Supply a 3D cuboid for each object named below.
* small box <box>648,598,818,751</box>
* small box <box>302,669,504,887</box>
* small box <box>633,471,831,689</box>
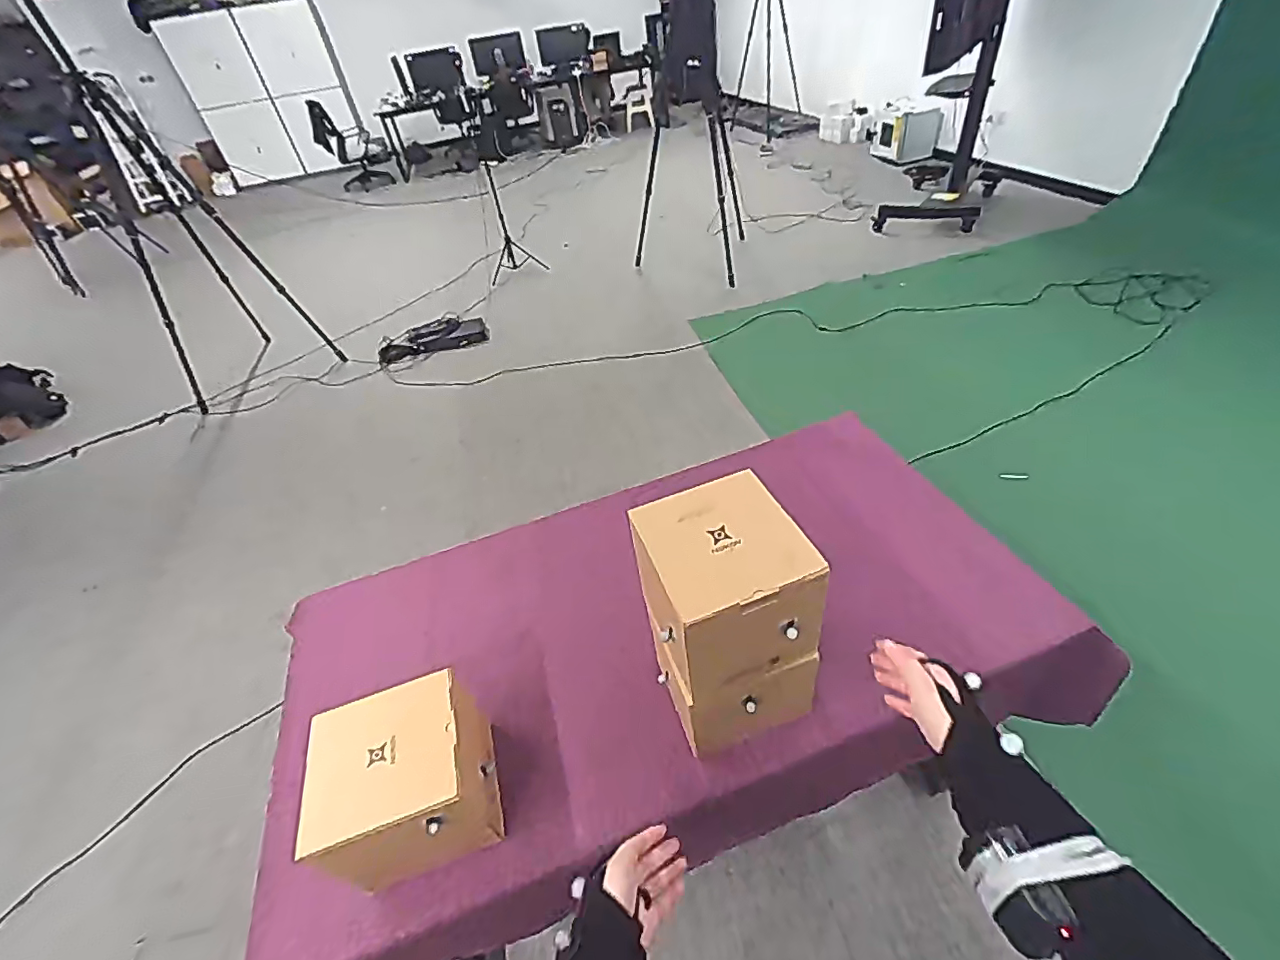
[{"bbox_3d":[0.126,0.247,0.755,0.179,0.176,0.168,-17,44,-8],"label":"small box"},{"bbox_3d":[-0.290,0.381,0.691,0.179,0.176,0.168,-17,43,-10],"label":"small box"},{"bbox_3d":[0.104,0.124,0.650,0.168,0.176,0.179,-18,42,-10],"label":"small box"}]
